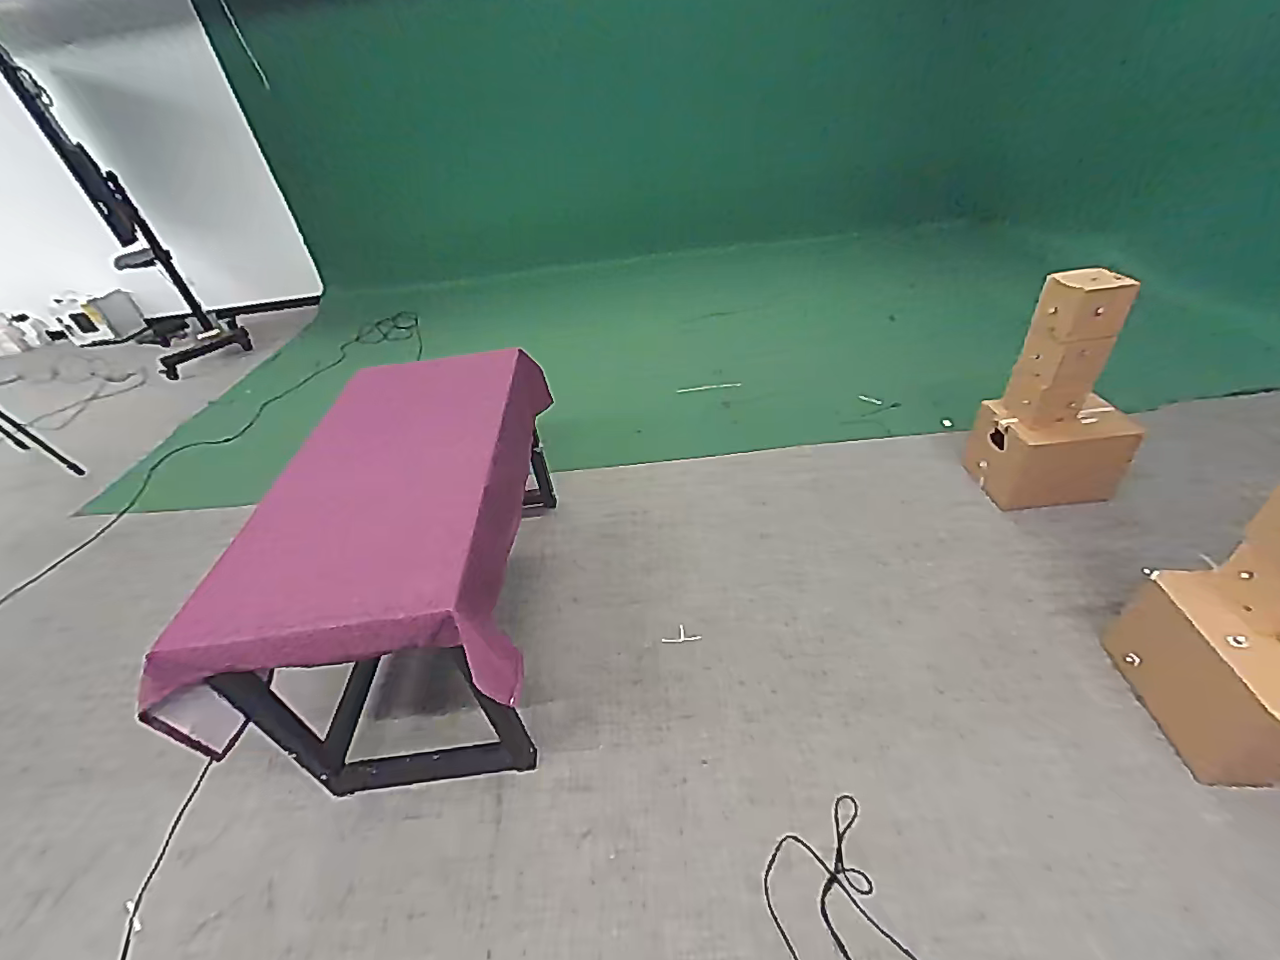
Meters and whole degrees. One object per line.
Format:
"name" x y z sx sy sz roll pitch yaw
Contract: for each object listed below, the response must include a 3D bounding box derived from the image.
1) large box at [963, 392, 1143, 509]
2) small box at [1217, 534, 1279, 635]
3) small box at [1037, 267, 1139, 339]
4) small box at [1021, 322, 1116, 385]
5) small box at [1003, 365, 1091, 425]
"large box" 1.548 -0.116 2.072 0.408 0.320 0.320 -6 38 2
"small box" 1.499 0.241 1.238 0.179 0.176 0.168 -1 39 6
"small box" 1.420 -0.564 1.734 0.179 0.176 0.168 -8 38 0
"small box" 1.440 -0.437 1.837 0.179 0.176 0.168 -9 38 -2
"small box" 1.450 -0.309 1.938 0.168 0.176 0.179 -7 37 1
